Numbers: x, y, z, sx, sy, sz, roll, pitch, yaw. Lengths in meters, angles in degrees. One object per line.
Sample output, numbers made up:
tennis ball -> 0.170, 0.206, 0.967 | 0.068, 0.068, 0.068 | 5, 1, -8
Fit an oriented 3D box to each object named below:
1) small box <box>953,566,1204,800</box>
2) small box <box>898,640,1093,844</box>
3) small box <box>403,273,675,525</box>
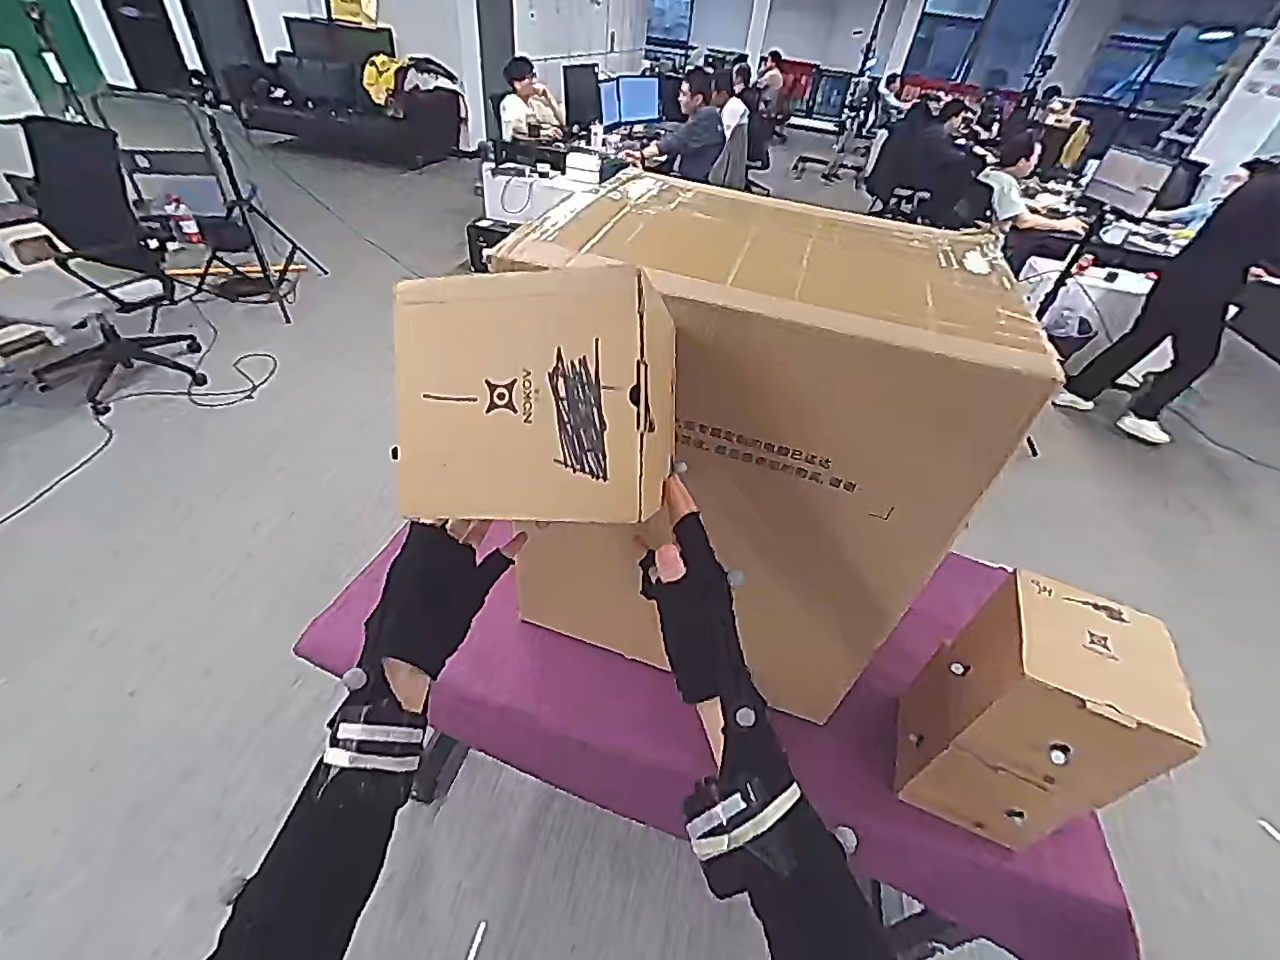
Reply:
small box -> 0.506, 0.246, 0.658 | 0.168, 0.176, 0.179 | 22, 43, 16
small box -> 0.481, 0.370, 0.763 | 0.168, 0.176, 0.179 | 20, 40, 13
small box -> -0.065, -0.057, 0.444 | 0.179, 0.168, 0.176 | 0, 2, 12
